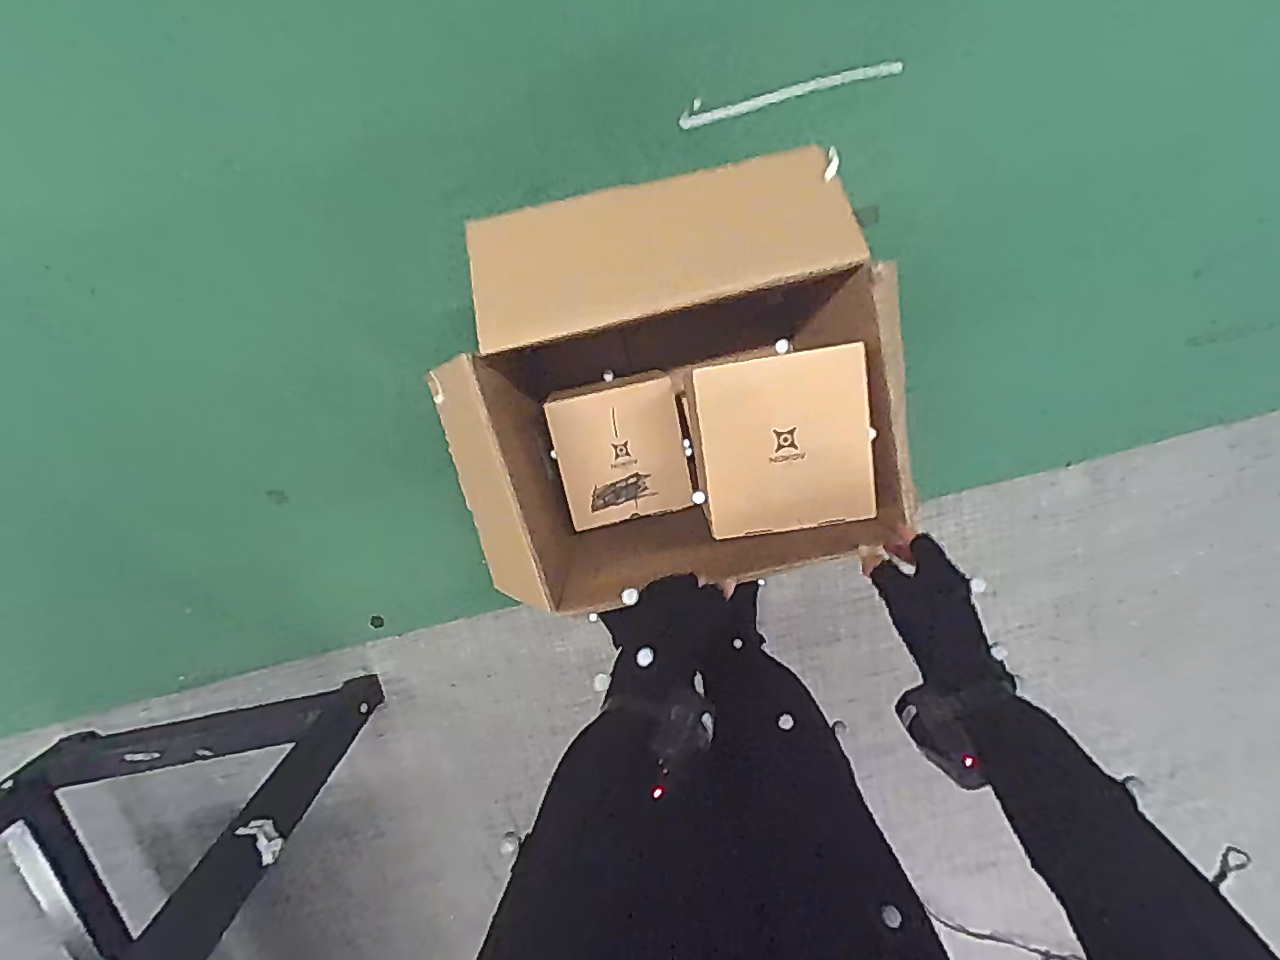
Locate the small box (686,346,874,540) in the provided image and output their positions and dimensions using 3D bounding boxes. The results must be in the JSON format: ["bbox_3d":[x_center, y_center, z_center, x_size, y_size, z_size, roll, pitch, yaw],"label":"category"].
[{"bbox_3d":[0.146,-0.046,0.616,0.168,0.176,0.179,-9,100,4],"label":"small box"}]
